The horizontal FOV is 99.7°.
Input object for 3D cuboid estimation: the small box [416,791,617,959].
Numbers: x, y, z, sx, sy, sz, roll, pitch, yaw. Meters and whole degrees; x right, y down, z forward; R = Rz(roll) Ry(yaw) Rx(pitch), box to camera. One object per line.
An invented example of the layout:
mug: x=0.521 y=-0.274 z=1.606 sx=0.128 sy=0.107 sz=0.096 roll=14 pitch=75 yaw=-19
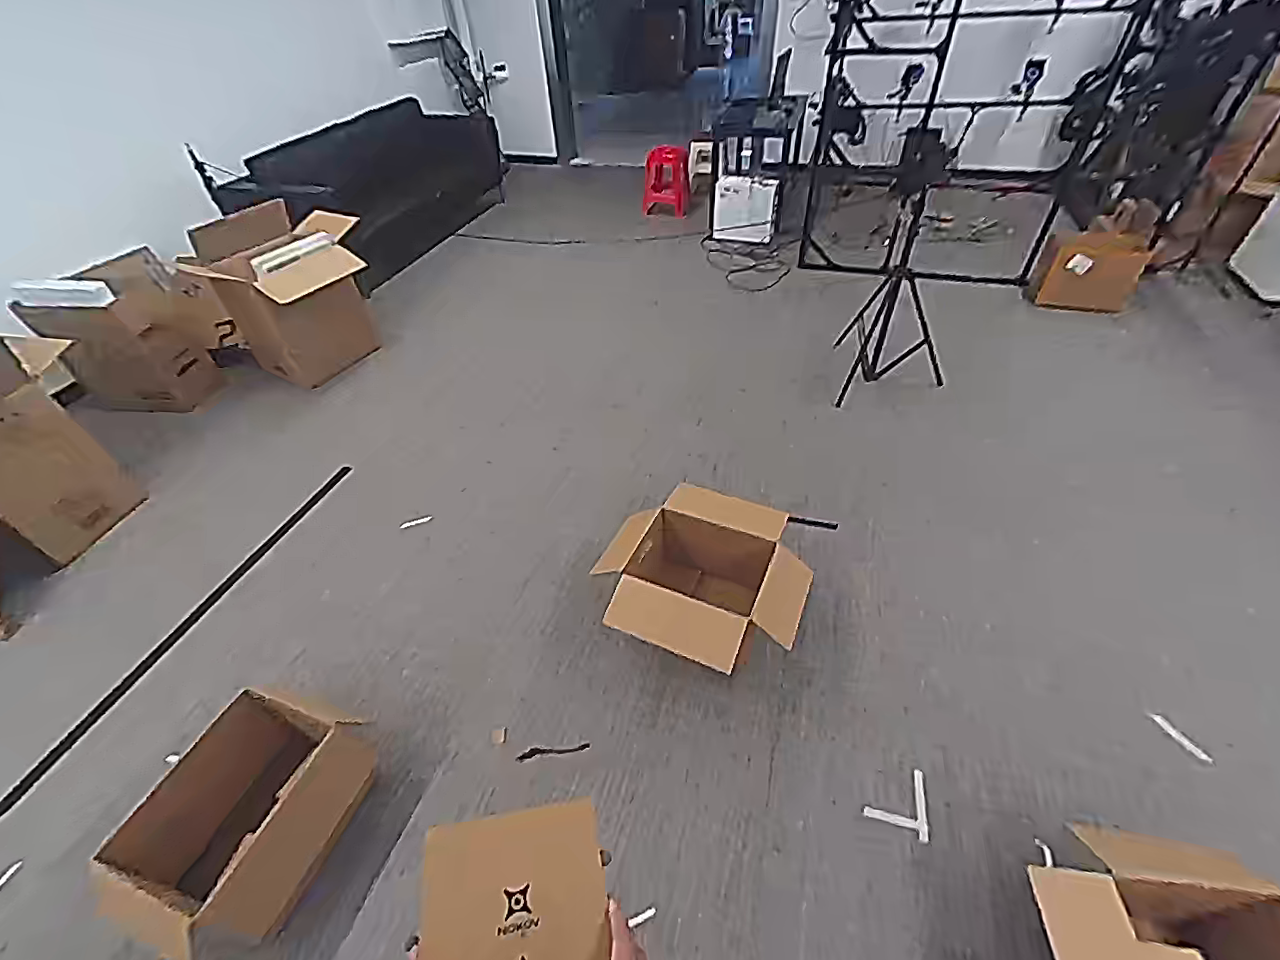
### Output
small box: x=-0.122 y=0.445 z=0.525 sx=0.168 sy=0.176 sz=0.179 roll=-2 pitch=35 yaw=-16
